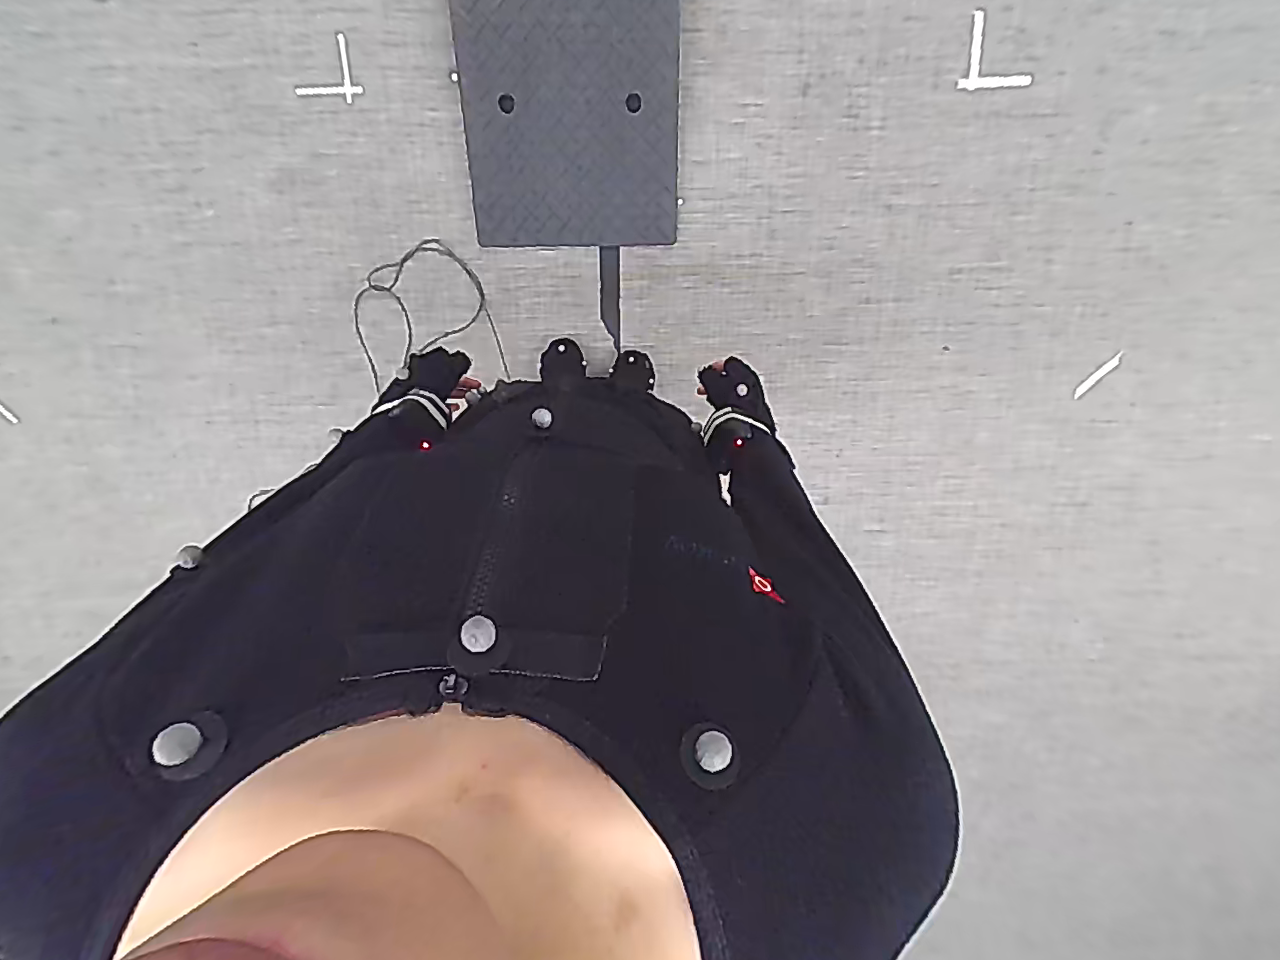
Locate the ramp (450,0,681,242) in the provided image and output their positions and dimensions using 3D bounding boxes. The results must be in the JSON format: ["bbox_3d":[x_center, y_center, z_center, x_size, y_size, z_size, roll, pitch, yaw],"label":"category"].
[{"bbox_3d":[-0.155,-1.046,1.131,0.509,0.206,0.991,-3,105,-2],"label":"ramp"}]
